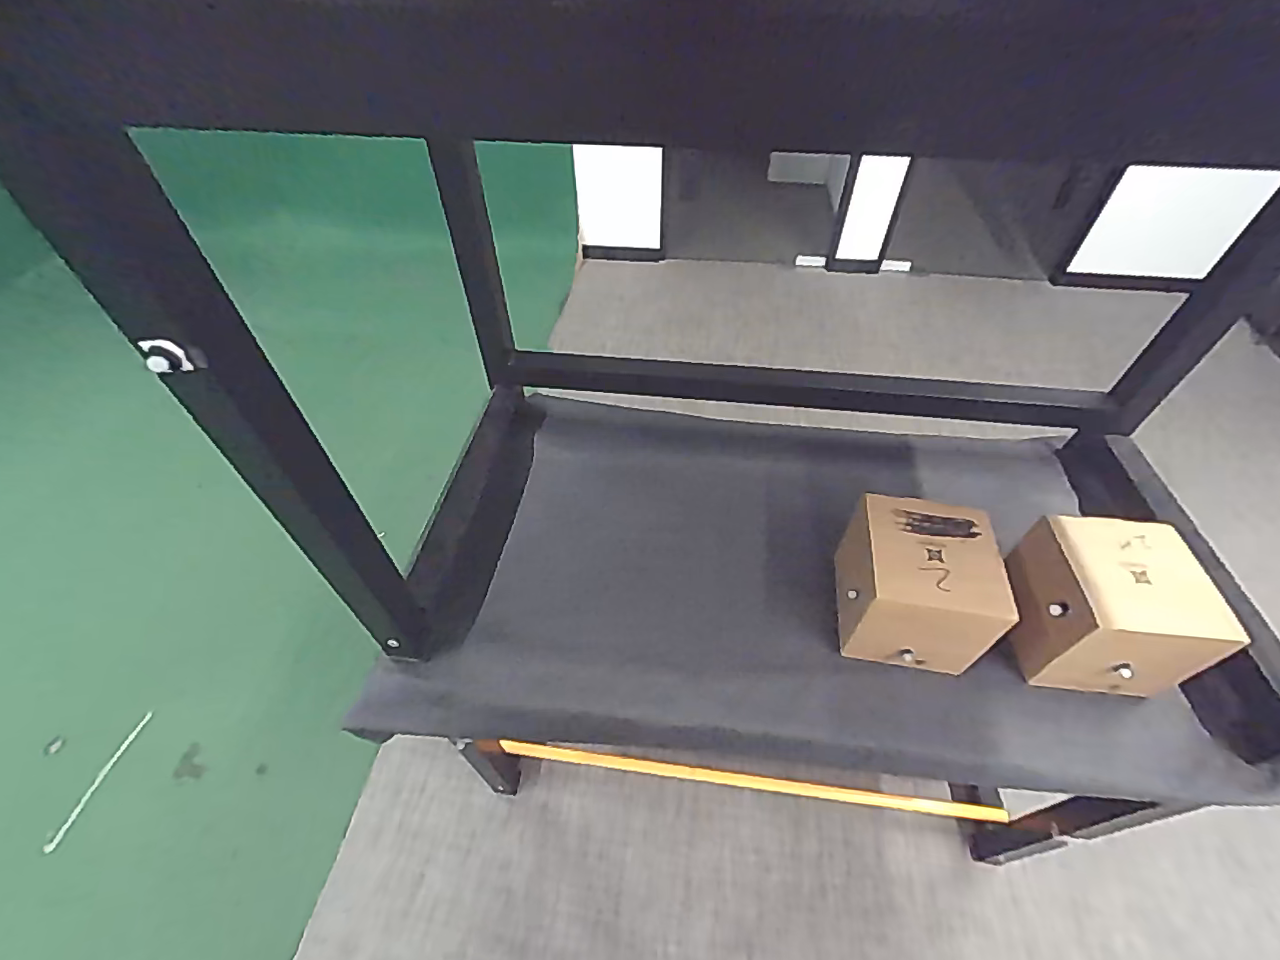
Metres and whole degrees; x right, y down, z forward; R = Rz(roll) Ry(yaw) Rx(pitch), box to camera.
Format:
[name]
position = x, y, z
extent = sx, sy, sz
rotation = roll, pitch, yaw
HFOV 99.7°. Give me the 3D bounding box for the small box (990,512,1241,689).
[small box]
position = 0.627, 0.168, 0.746
extent = 0.168, 0.176, 0.179
rotation = 5, 47, 5
